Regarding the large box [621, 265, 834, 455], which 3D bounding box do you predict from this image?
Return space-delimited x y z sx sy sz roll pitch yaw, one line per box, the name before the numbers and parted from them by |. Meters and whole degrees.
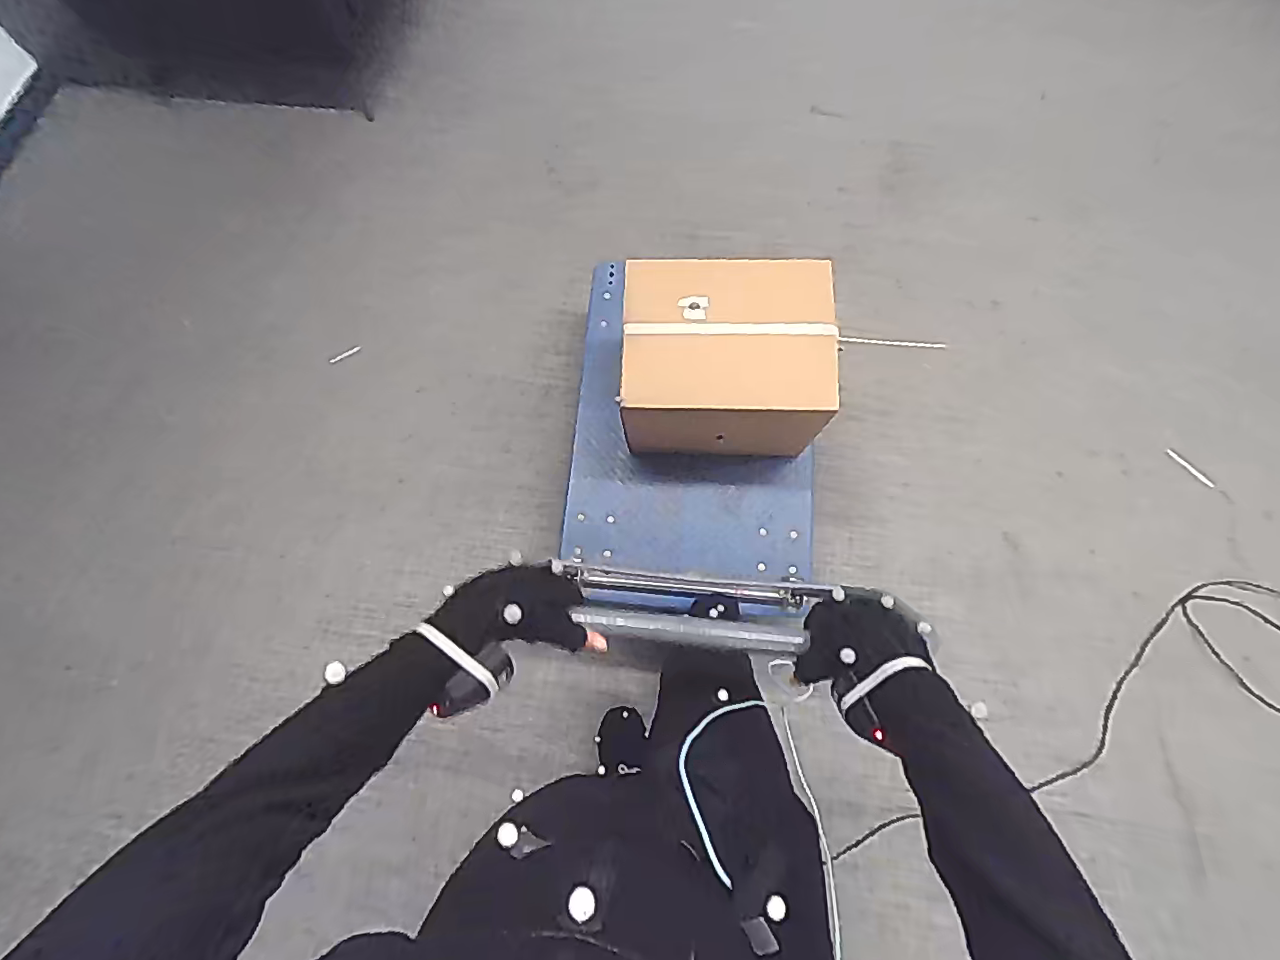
large box | 0.172 -0.238 1.185 0.408 0.320 0.320 -1 78 3
